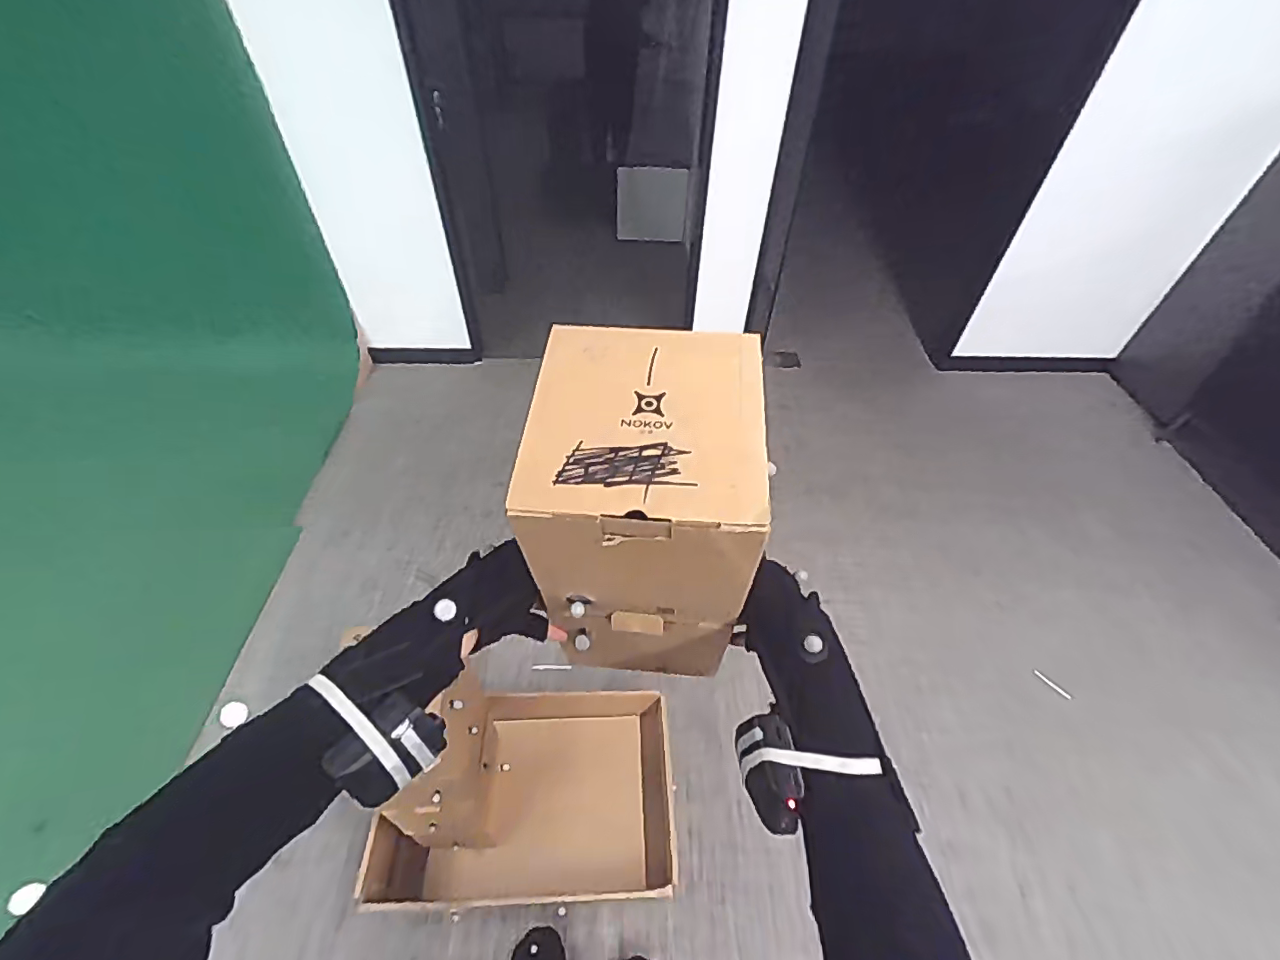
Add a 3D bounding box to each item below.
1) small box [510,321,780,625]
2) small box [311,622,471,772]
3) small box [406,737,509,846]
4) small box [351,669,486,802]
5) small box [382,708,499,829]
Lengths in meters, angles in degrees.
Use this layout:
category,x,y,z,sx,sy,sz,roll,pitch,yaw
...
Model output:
category,x,y,z,sx,sy,sz,roll,pitch,yaw
small box,0.012,0.002,0.434,0.168,0.176,0.179,7,57,4
small box,-0.365,0.338,0.834,0.168,0.176,0.179,0,48,-6
small box,-0.387,0.681,1.184,0.168,0.176,0.179,1,47,-2
small box,-0.374,0.453,0.951,0.168,0.176,0.179,0,47,-5
small box,-0.379,0.569,1.066,0.168,0.176,0.179,1,47,-3
